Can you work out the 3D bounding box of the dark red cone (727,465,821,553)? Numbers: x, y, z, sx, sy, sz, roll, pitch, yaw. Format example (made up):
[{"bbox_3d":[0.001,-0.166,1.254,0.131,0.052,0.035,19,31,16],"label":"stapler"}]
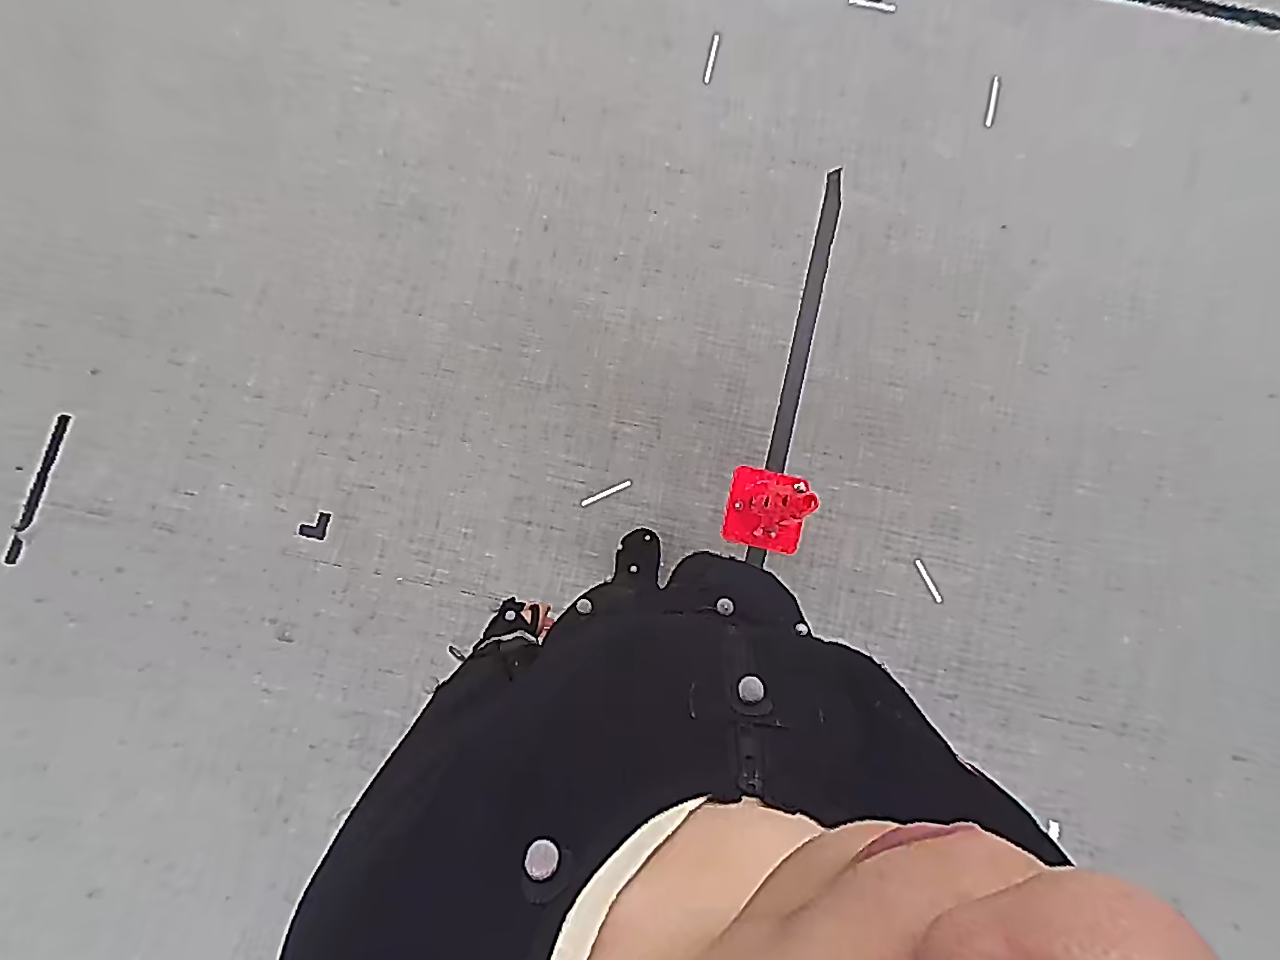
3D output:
[{"bbox_3d":[0.326,0.059,1.203,0.201,0.394,0.202,12,85,2],"label":"dark red cone"}]
